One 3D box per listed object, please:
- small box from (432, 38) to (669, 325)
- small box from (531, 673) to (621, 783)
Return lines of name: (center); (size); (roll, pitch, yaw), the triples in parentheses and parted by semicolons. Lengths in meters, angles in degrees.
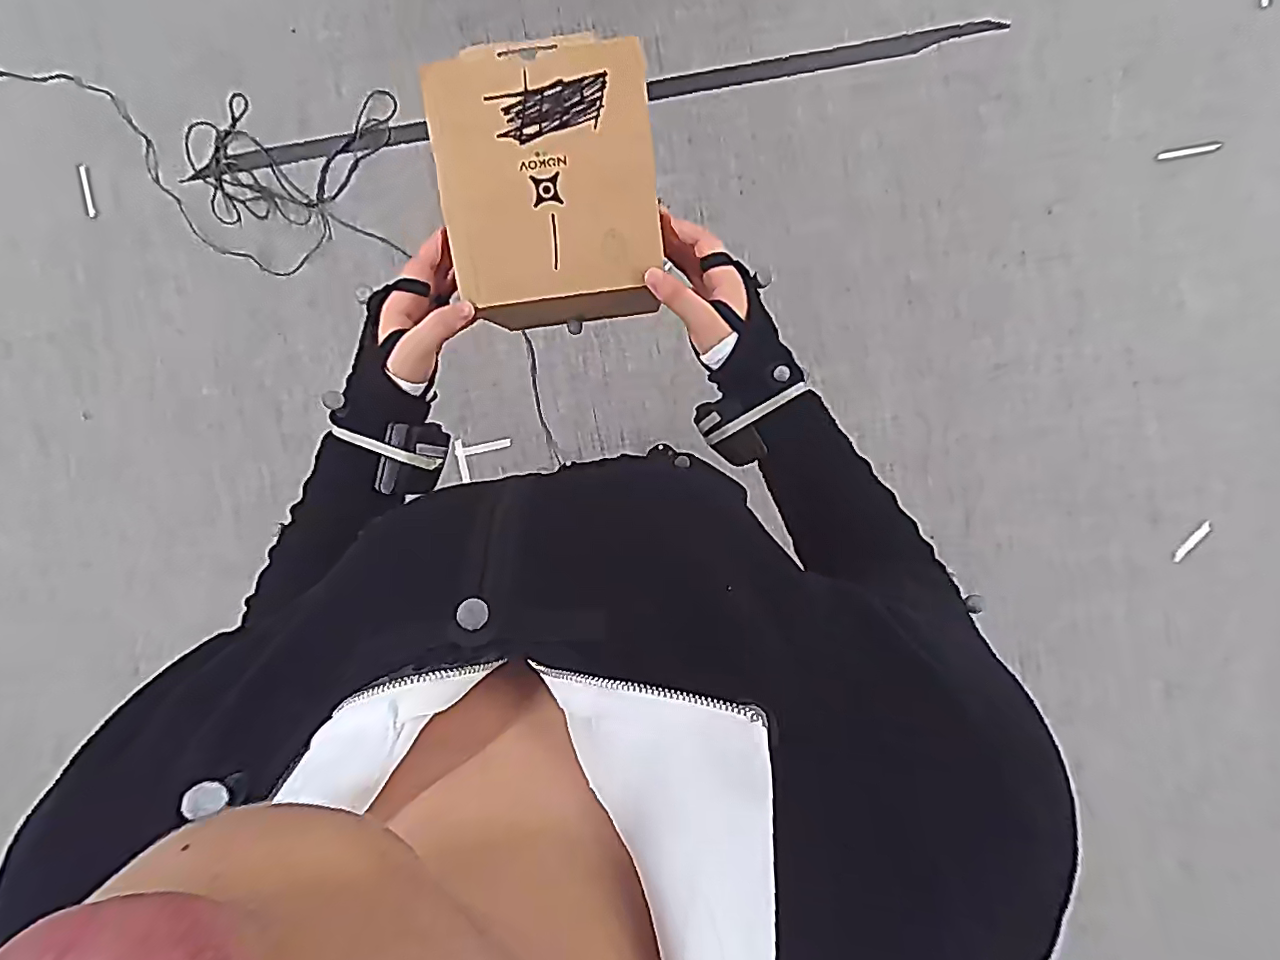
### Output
small box: (-0.068, -0.248, 0.494); (0.168, 0.176, 0.179); (-7, 100, 1)
small box: (-0.140, 0.562, 1.261); (0.168, 0.176, 0.179); (-12, 93, 1)
